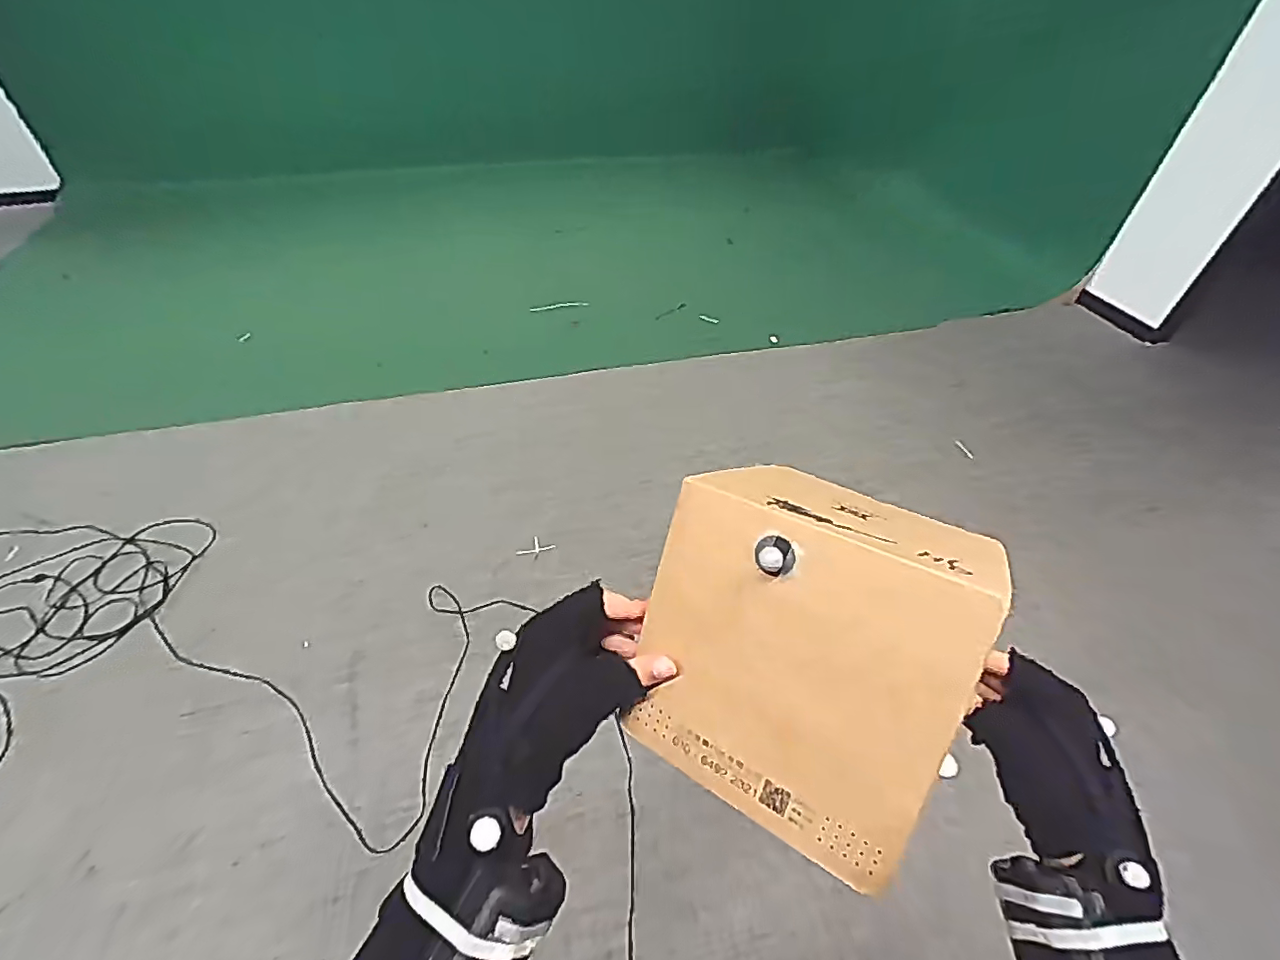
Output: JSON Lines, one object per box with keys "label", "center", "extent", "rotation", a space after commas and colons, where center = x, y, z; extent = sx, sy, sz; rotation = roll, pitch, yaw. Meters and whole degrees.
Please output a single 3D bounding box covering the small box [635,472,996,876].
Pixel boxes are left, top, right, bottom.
{"label": "small box", "center": [0.117, 0.101, 0.366], "extent": [0.168, 0.176, 0.179], "rotation": [21, 13, 30]}
